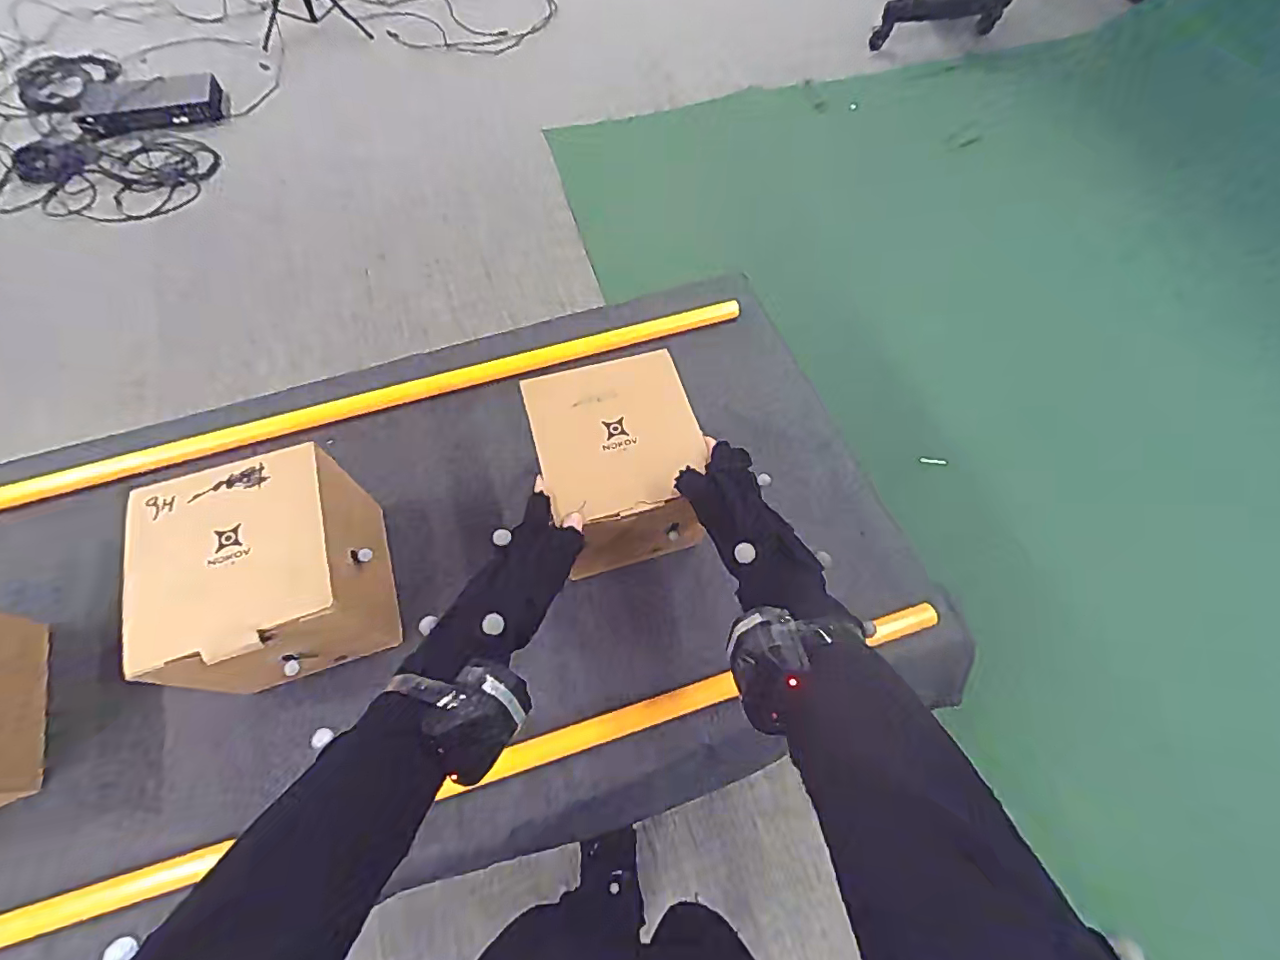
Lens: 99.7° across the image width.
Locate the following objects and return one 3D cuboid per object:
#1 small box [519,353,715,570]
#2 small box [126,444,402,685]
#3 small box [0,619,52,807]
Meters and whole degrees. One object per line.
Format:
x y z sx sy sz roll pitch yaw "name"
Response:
-0.029 -0.010 0.616 0.168 0.176 0.179 -15 64 -10 "small box"
-0.367 0.097 0.554 0.168 0.176 0.179 -20 66 -10 "small box"
-0.689 0.221 0.478 0.168 0.176 0.179 -19 67 -11 "small box"
